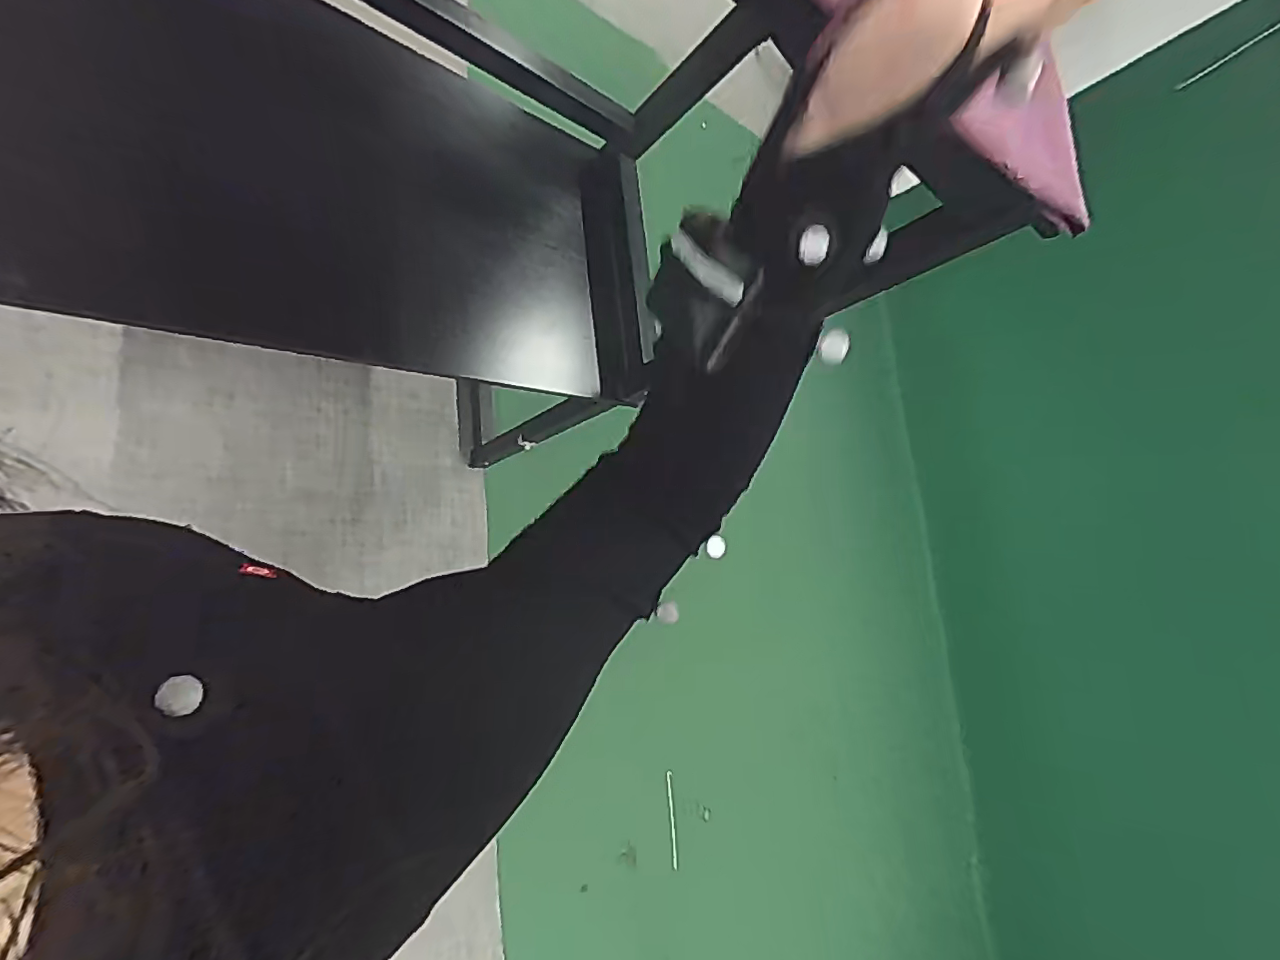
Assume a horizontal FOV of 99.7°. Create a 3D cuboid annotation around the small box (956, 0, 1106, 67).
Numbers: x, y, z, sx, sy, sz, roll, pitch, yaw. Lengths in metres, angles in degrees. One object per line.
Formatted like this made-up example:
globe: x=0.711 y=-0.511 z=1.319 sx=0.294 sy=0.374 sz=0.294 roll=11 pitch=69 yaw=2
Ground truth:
small box: x=0.318 y=-0.477 z=0.407 sx=0.168 sy=0.176 sz=0.179 roll=11 pitch=71 yaw=-38
